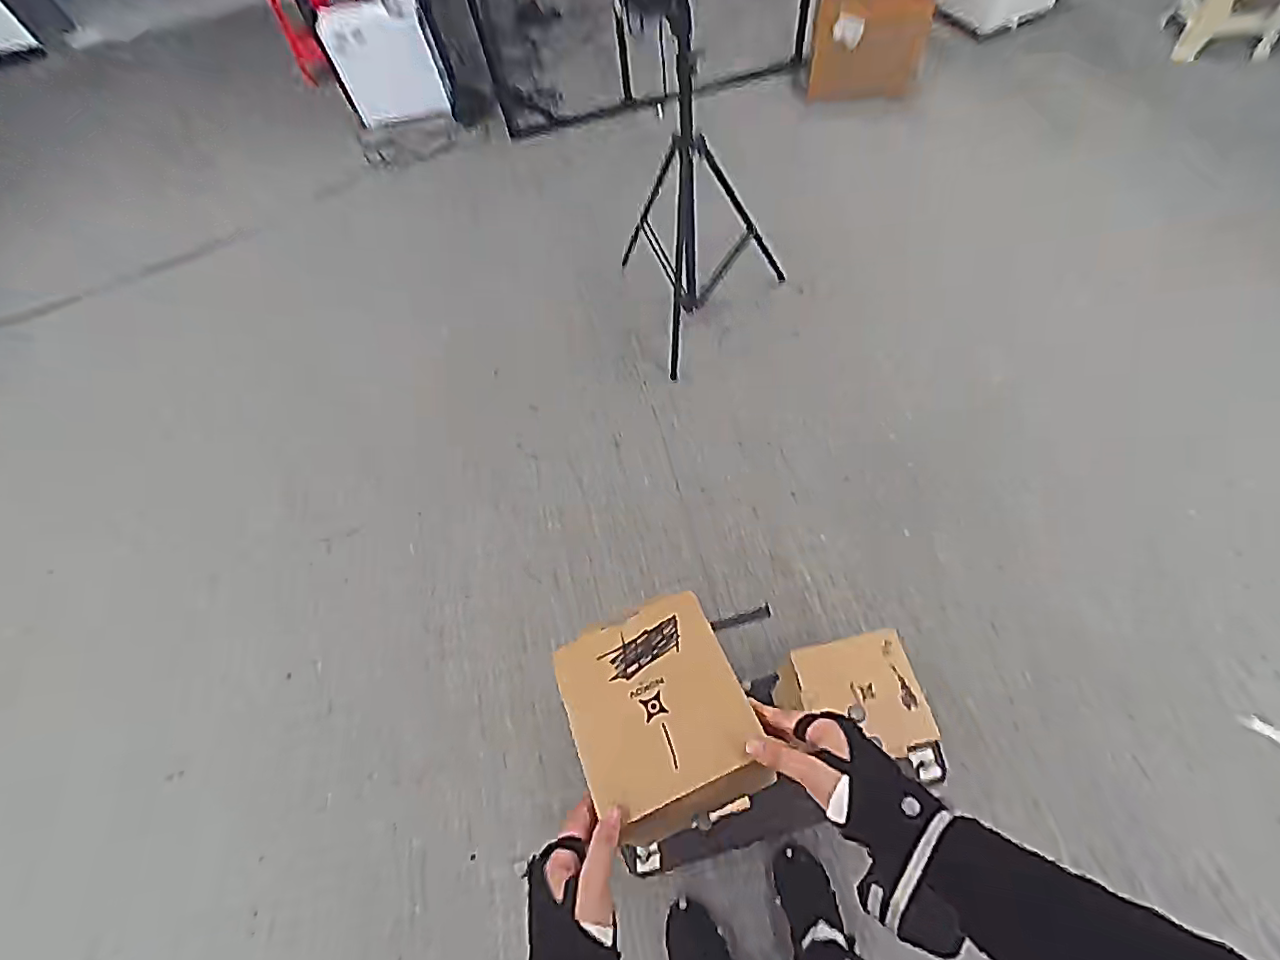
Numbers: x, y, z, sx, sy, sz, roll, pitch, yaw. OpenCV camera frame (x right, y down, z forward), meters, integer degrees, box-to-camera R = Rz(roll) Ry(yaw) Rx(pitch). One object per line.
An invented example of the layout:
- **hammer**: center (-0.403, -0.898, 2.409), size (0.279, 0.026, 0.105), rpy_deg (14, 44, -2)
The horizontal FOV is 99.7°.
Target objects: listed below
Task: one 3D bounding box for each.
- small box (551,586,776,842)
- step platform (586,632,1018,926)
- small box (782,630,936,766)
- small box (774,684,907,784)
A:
- **small box**: center (0.027, 0.249, 0.569), size (0.168, 0.176, 0.179), rpy_deg (-24, 52, -4)
- **step platform**: center (0.257, 0.514, 0.962), size (0.684, 0.204, 0.286), rpy_deg (-16, 60, -3)
- **small box**: center (0.341, 0.364, 0.889), size (0.179, 0.176, 0.168), rpy_deg (-13, 60, 0)
- **small box**: center (0.361, 0.460, 1.020), size (0.179, 0.176, 0.168), rpy_deg (-16, 59, -2)
